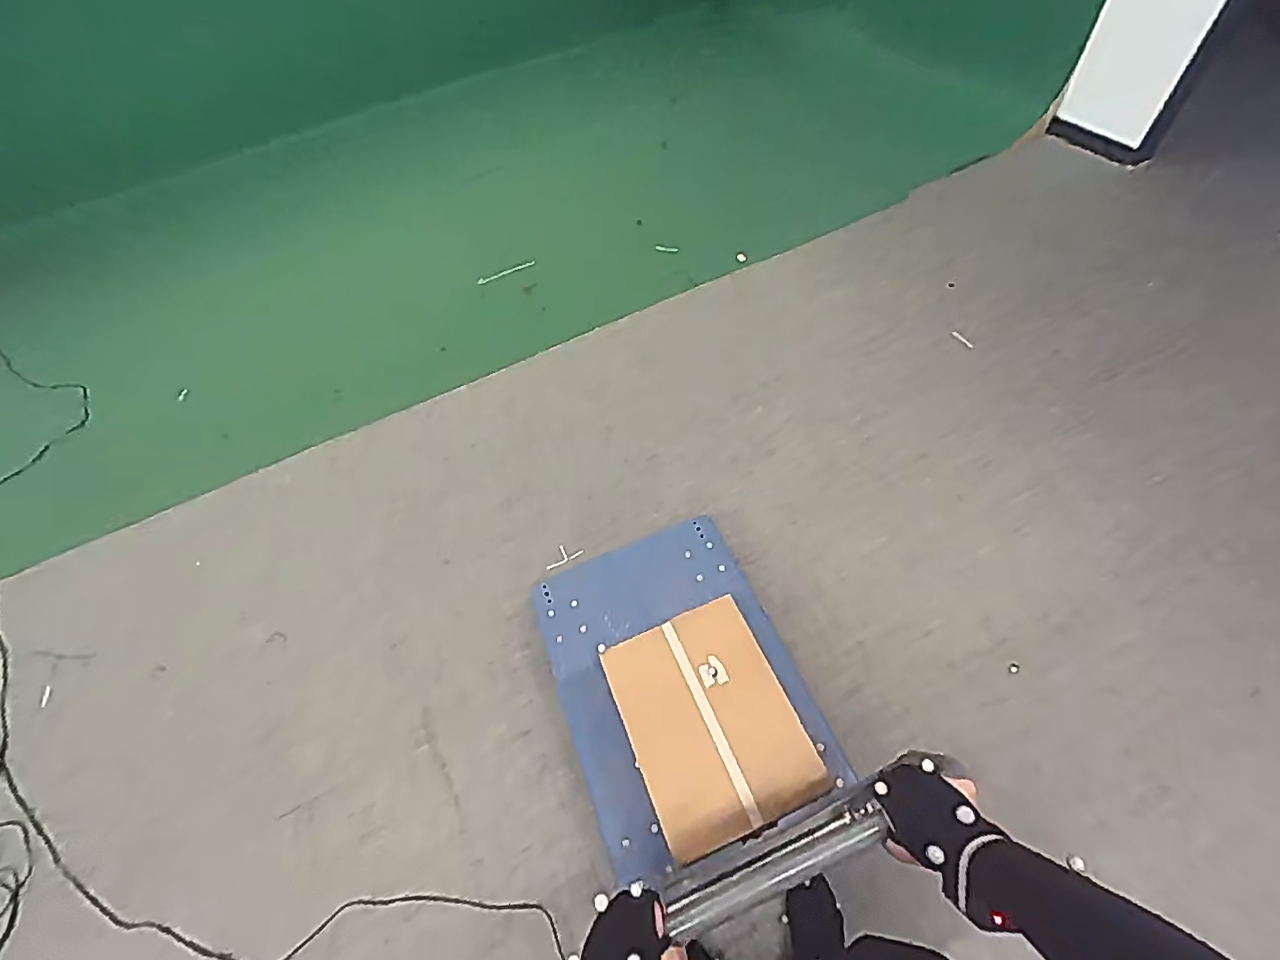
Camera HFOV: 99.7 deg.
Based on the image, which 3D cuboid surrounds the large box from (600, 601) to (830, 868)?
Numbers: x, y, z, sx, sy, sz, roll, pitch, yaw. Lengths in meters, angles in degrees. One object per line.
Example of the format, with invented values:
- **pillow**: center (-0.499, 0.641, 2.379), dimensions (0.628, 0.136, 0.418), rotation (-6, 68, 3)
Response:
- **large box**: center (0.150, 0.550, 1.180), dimensions (0.320, 0.320, 0.408), rotation (-23, 55, -7)
